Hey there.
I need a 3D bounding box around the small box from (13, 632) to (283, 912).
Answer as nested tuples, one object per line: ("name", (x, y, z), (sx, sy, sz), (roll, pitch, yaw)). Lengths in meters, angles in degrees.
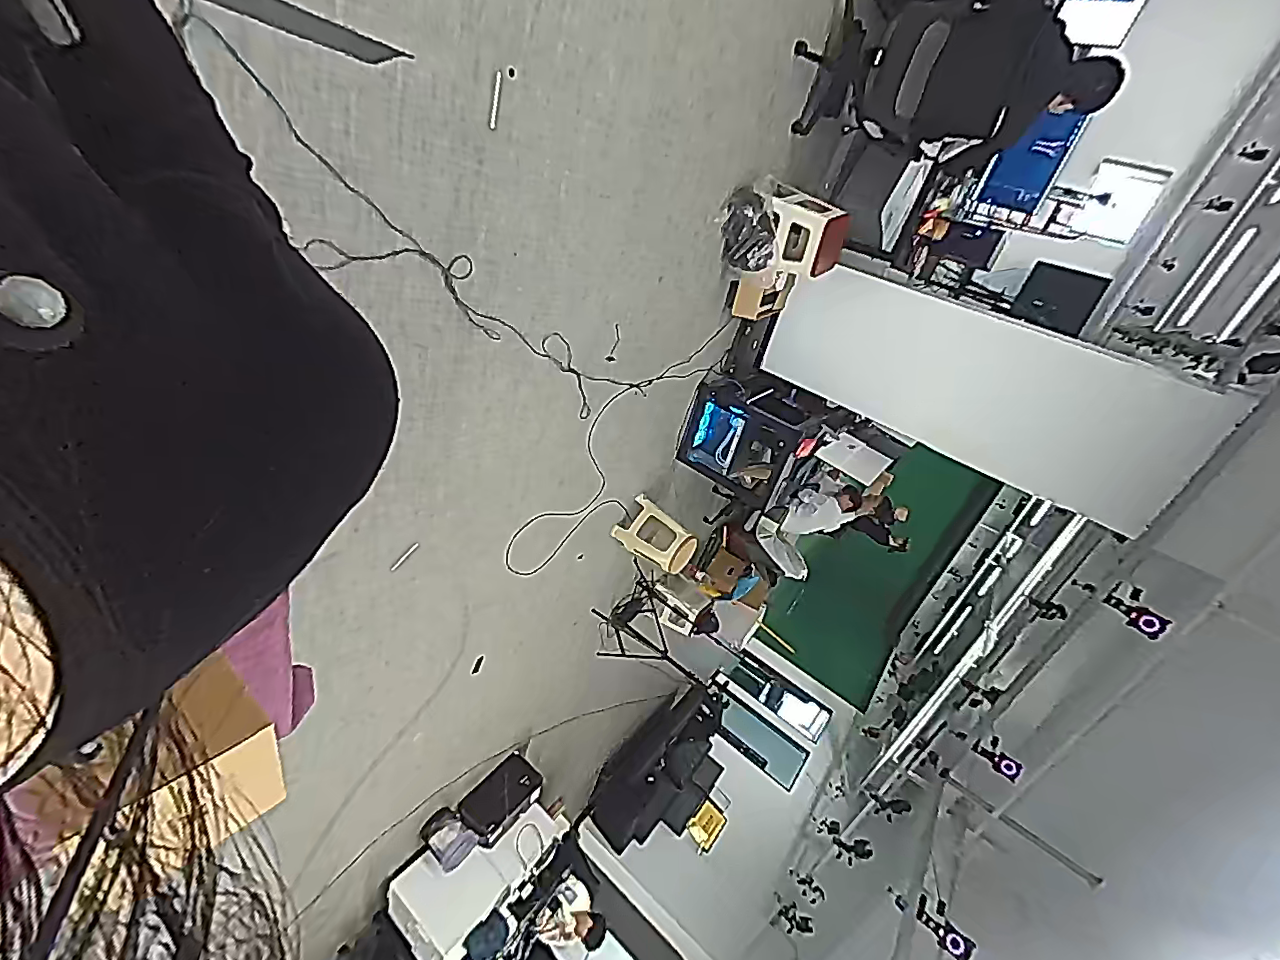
("small box", (-0.541, 0.311, 0.606), (0.179, 0.176, 0.168), (-28, 144, -49))
